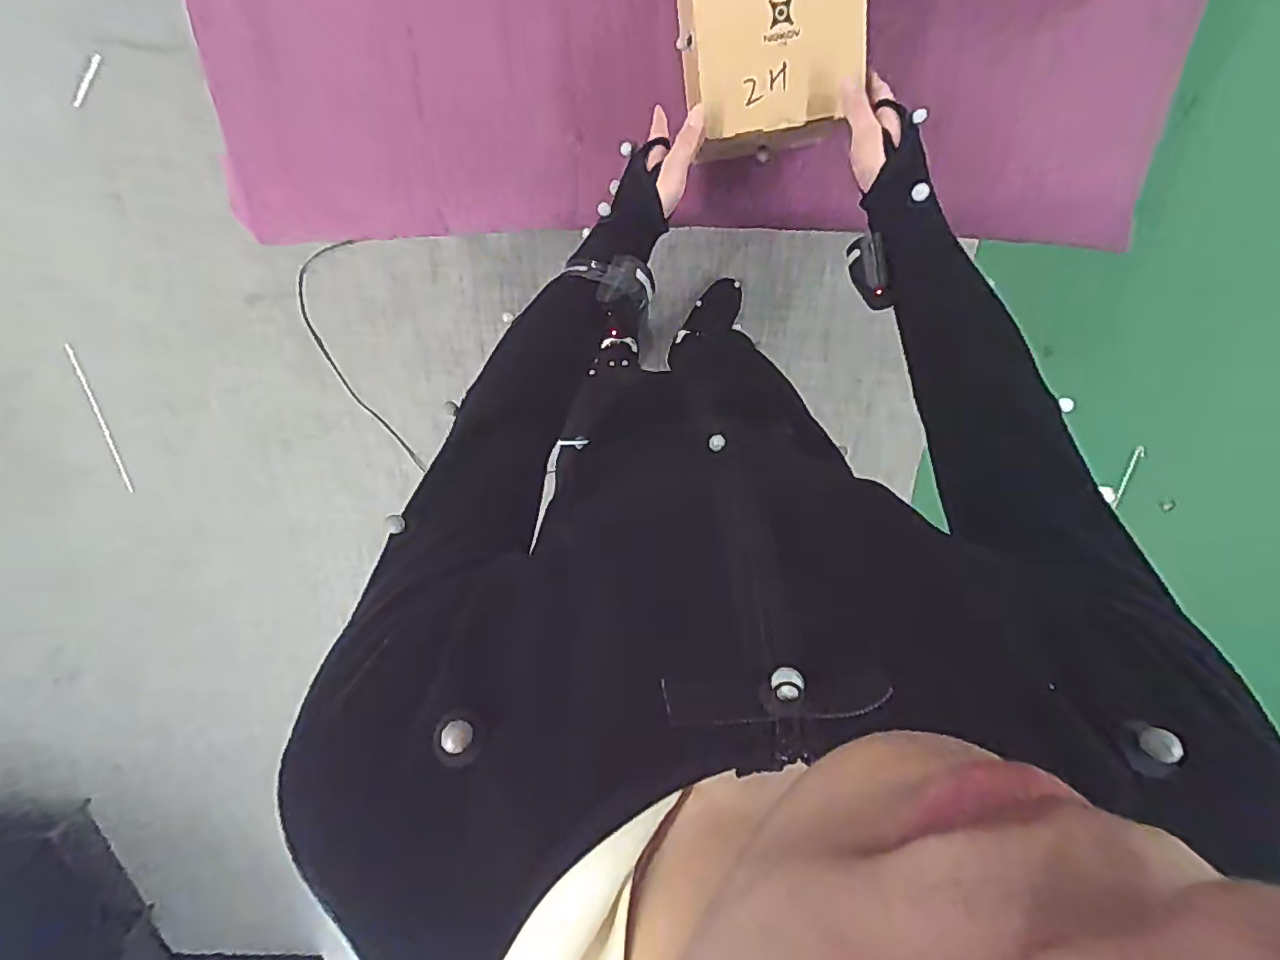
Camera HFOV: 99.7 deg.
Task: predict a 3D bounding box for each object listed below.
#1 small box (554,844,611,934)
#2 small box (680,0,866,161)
[{"bbox_3d":[-0.185,1.340,1.774,0.168,0.176,0.179,4,113,0],"label":"small box"},{"bbox_3d":[0.137,-0.474,0.597,0.168,0.176,0.179,-7,113,5],"label":"small box"}]
